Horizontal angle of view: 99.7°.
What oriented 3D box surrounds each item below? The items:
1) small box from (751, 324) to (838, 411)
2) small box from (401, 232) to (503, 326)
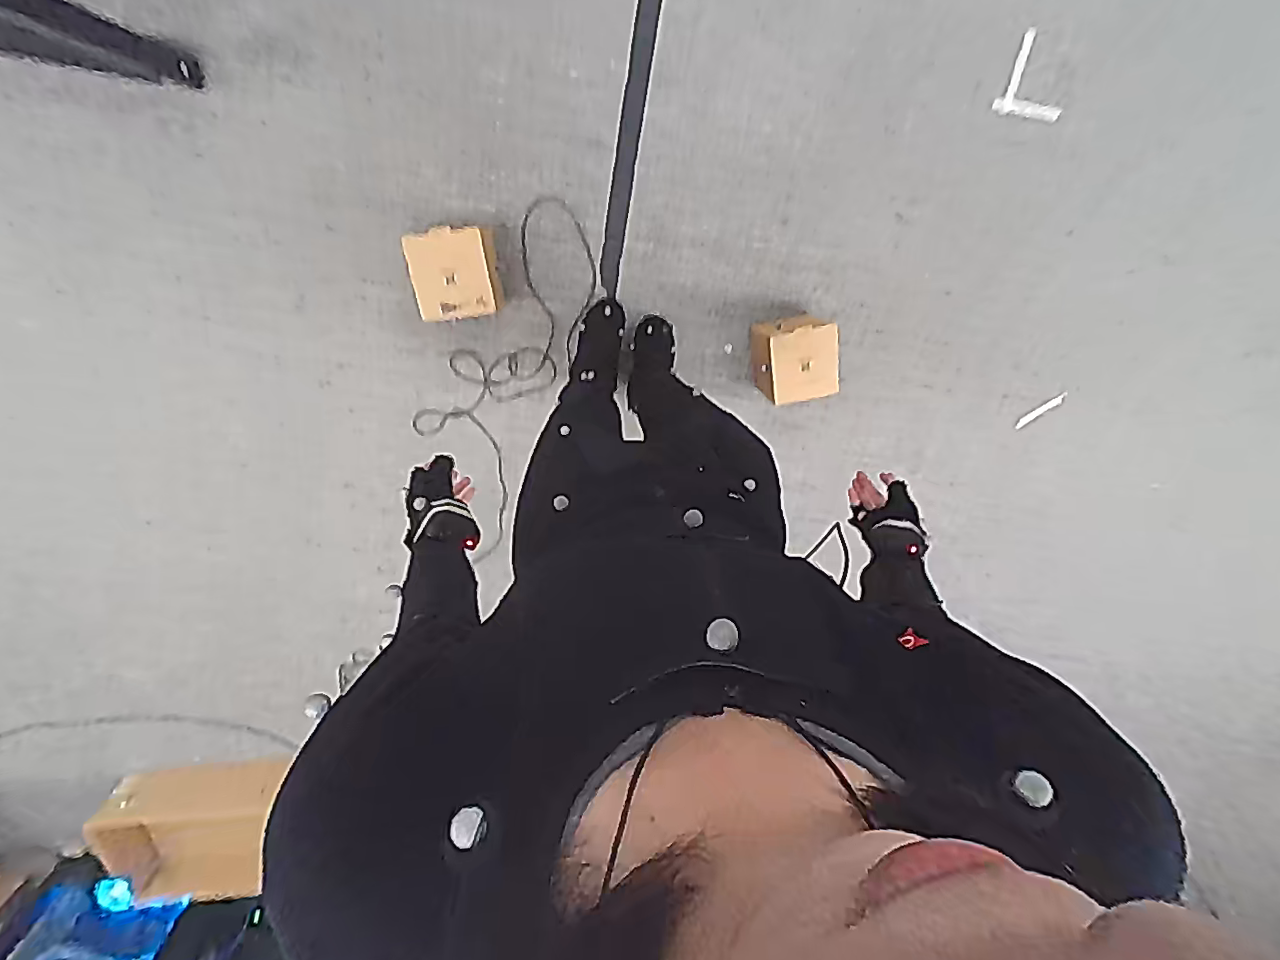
[{"bbox_3d":[0.389,-0.294,1.377,0.168,0.176,0.179,-11,114,0],"label":"small box"},{"bbox_3d":[-0.417,-0.455,1.228,0.168,0.176,0.179,-8,112,-3],"label":"small box"}]
